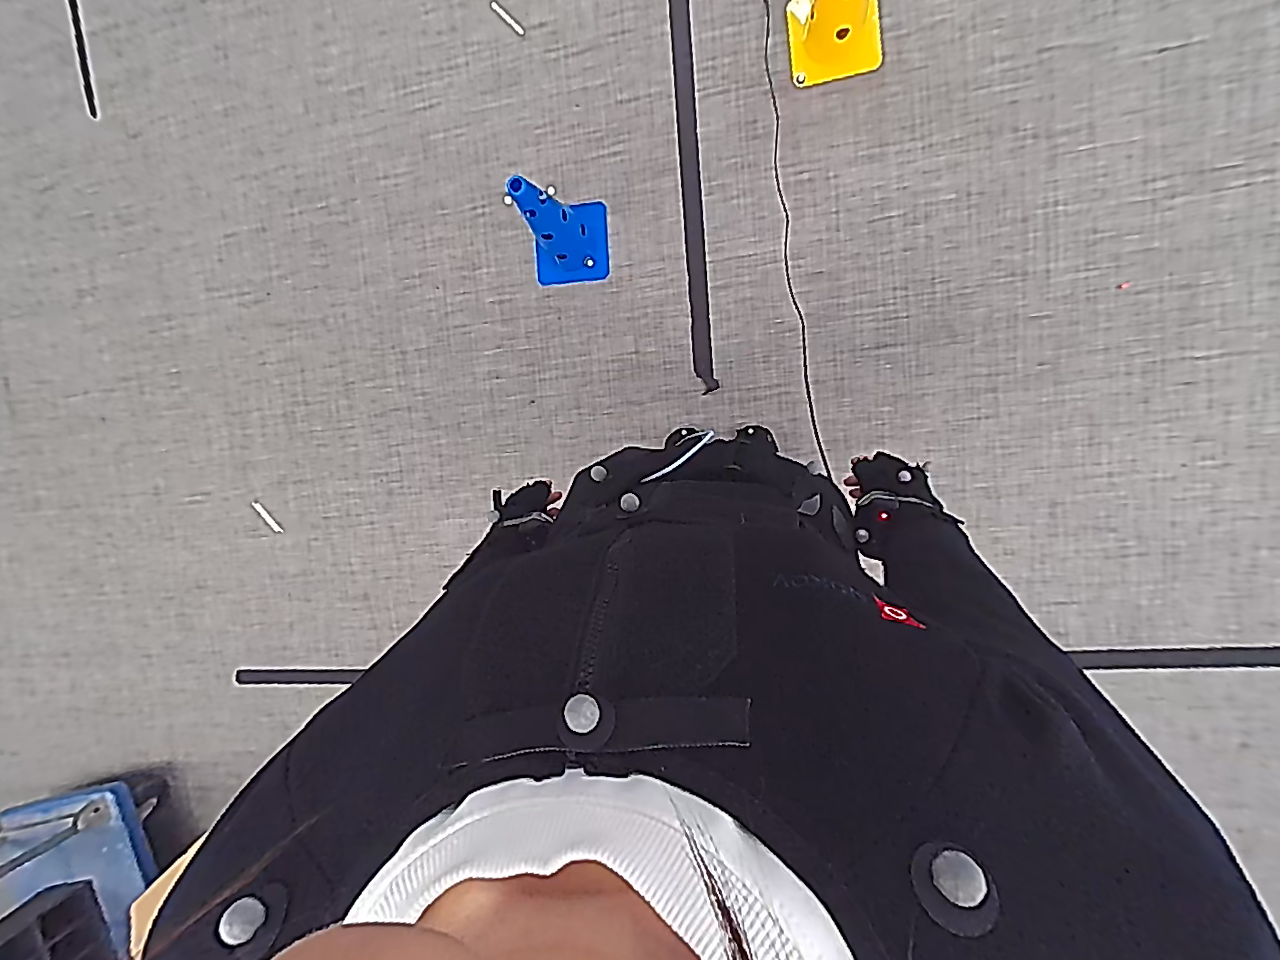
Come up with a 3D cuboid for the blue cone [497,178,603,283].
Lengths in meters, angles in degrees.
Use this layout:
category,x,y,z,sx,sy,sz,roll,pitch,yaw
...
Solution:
category,x,y,z,sx,sy,sz,roll,pitch,yaw
blue cone,-0.225,-0.611,1.268,0.192,0.380,0.193,0,95,12
